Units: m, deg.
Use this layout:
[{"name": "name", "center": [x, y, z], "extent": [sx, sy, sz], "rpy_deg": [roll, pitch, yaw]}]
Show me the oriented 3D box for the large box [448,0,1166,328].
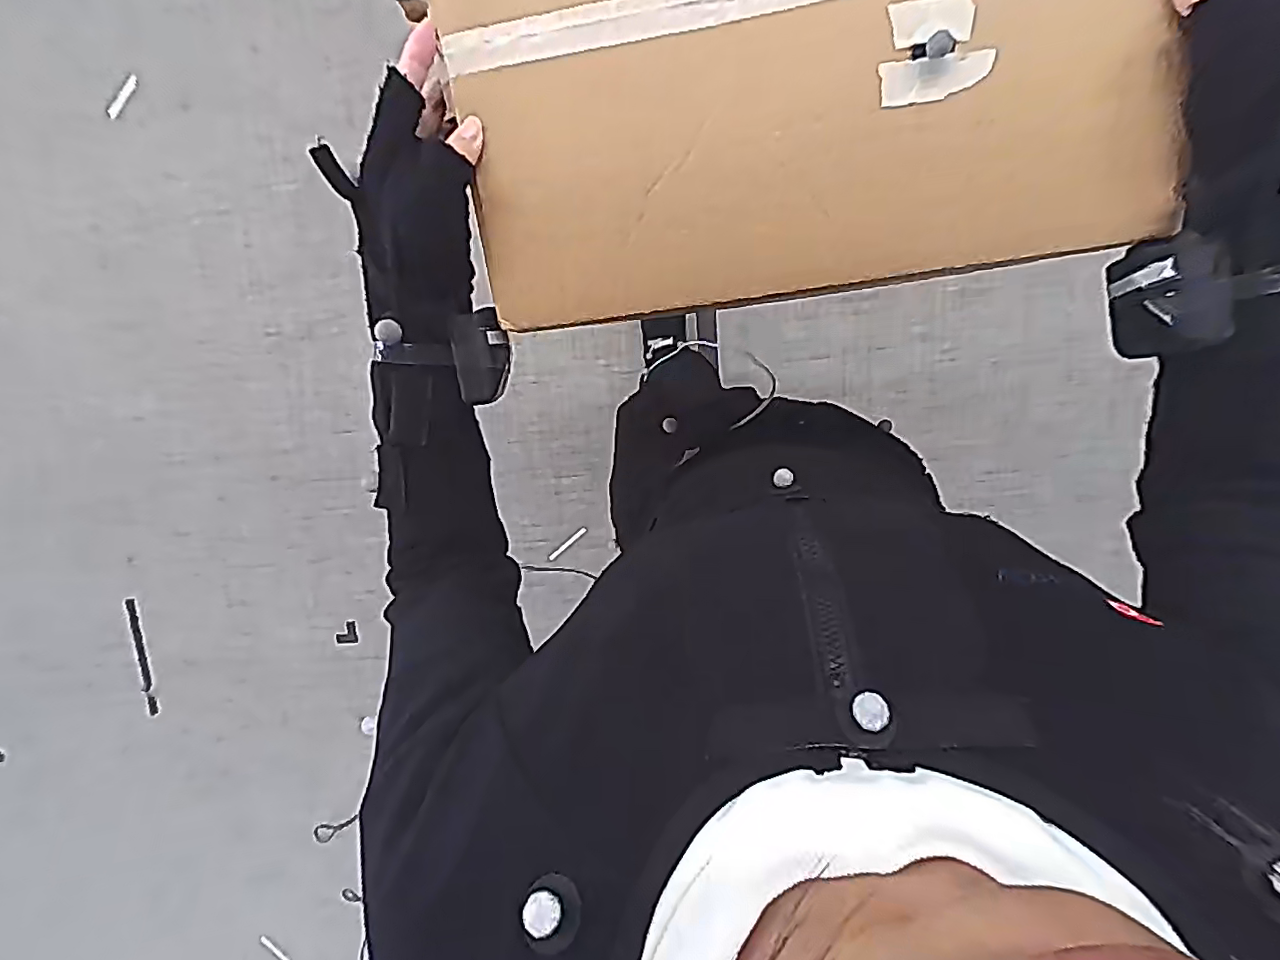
[{"name": "large box", "center": [0.095, -0.316, 0.451], "extent": [0.408, 0.320, 0.320], "rpy_deg": [-7, 106, 6]}]
